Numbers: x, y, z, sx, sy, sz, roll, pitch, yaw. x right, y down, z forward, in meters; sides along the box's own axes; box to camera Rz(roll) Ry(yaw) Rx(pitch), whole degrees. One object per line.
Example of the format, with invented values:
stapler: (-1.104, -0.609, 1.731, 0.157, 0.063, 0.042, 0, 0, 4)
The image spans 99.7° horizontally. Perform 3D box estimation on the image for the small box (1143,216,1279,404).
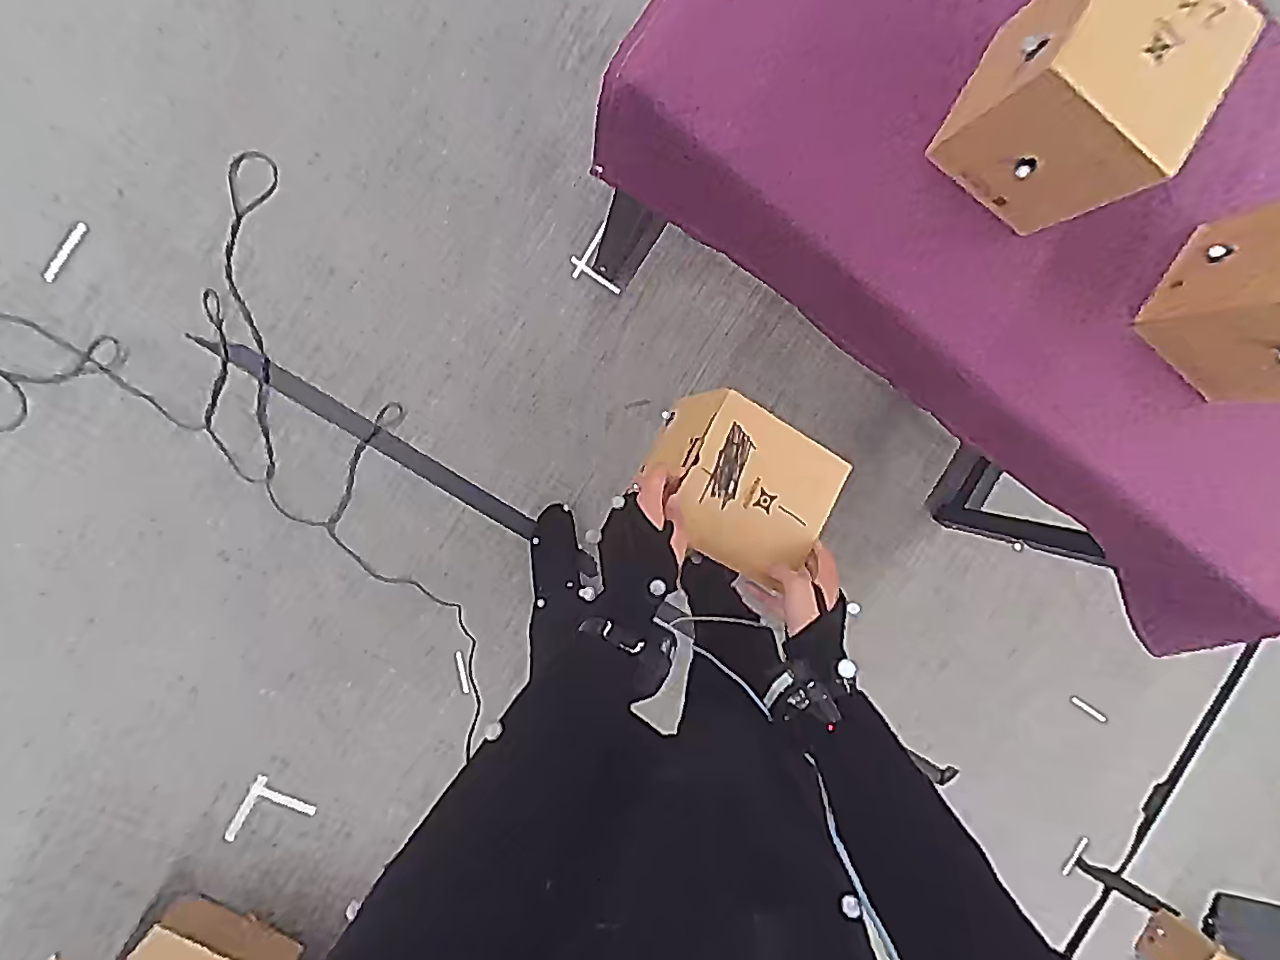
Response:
small box: (0.771, -0.201, 0.636, 0.179, 0.176, 0.168, 36, 89, -11)

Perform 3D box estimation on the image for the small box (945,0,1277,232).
small box: (0.460, -0.396, 0.560, 0.168, 0.176, 0.179, 31, 90, -12)

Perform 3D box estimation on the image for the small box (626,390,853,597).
small box: (0.105, 0.013, 0.644, 0.179, 0.176, 0.168, 29, 87, -17)
